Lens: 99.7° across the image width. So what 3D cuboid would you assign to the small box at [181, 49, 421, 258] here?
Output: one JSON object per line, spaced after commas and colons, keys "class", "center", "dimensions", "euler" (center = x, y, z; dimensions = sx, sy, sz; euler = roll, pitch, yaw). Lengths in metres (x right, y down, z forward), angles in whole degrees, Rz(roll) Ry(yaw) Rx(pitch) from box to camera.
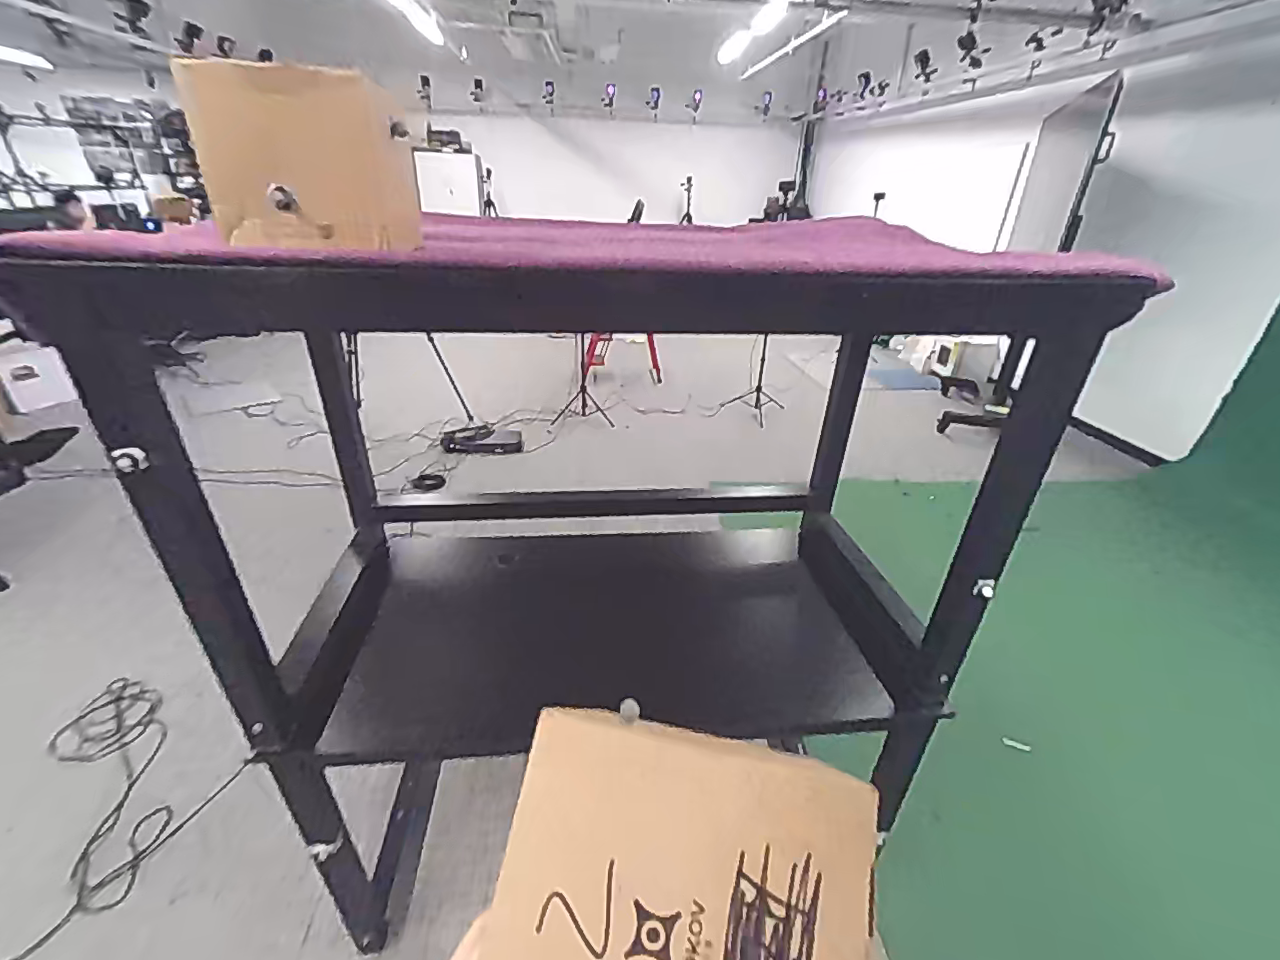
{"class": "small box", "center": [-0.353, -0.351, 0.607], "dimensions": [0.168, 0.176, 0.179], "euler": [-2, 27, -9]}
